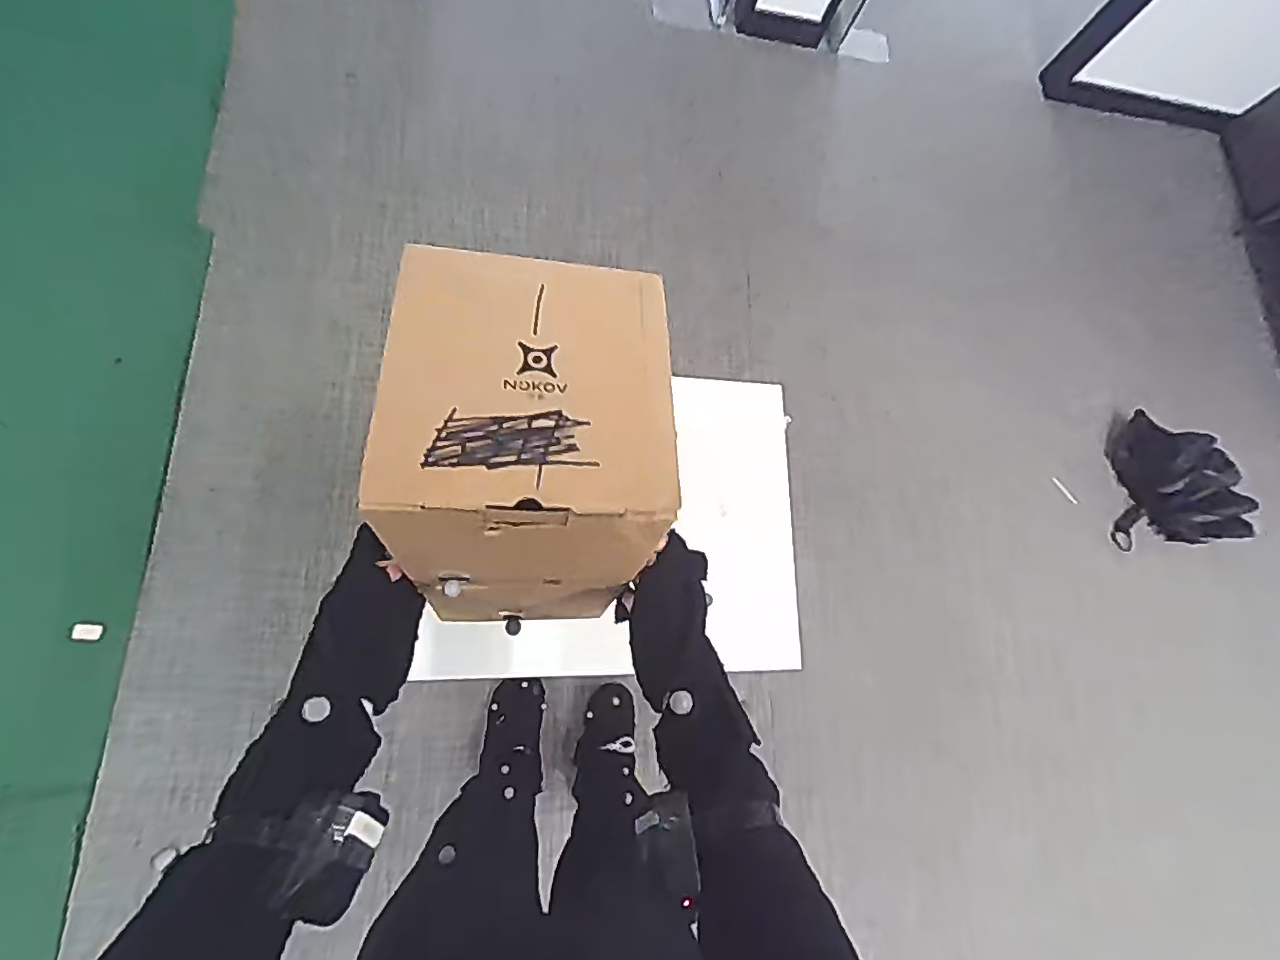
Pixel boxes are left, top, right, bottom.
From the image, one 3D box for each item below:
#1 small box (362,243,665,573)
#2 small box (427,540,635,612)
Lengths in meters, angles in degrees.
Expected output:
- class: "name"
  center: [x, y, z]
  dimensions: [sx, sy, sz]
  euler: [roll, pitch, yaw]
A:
- class: "small box"
  center: [-0.082, -0.035, 0.398]
  dimensions: [0.168, 0.176, 0.179]
  euler: [4, 64, -12]
- class: "small box"
  center: [-0.107, 0.024, 0.531]
  dimensions: [0.168, 0.176, 0.179]
  euler: [1, 67, -14]
